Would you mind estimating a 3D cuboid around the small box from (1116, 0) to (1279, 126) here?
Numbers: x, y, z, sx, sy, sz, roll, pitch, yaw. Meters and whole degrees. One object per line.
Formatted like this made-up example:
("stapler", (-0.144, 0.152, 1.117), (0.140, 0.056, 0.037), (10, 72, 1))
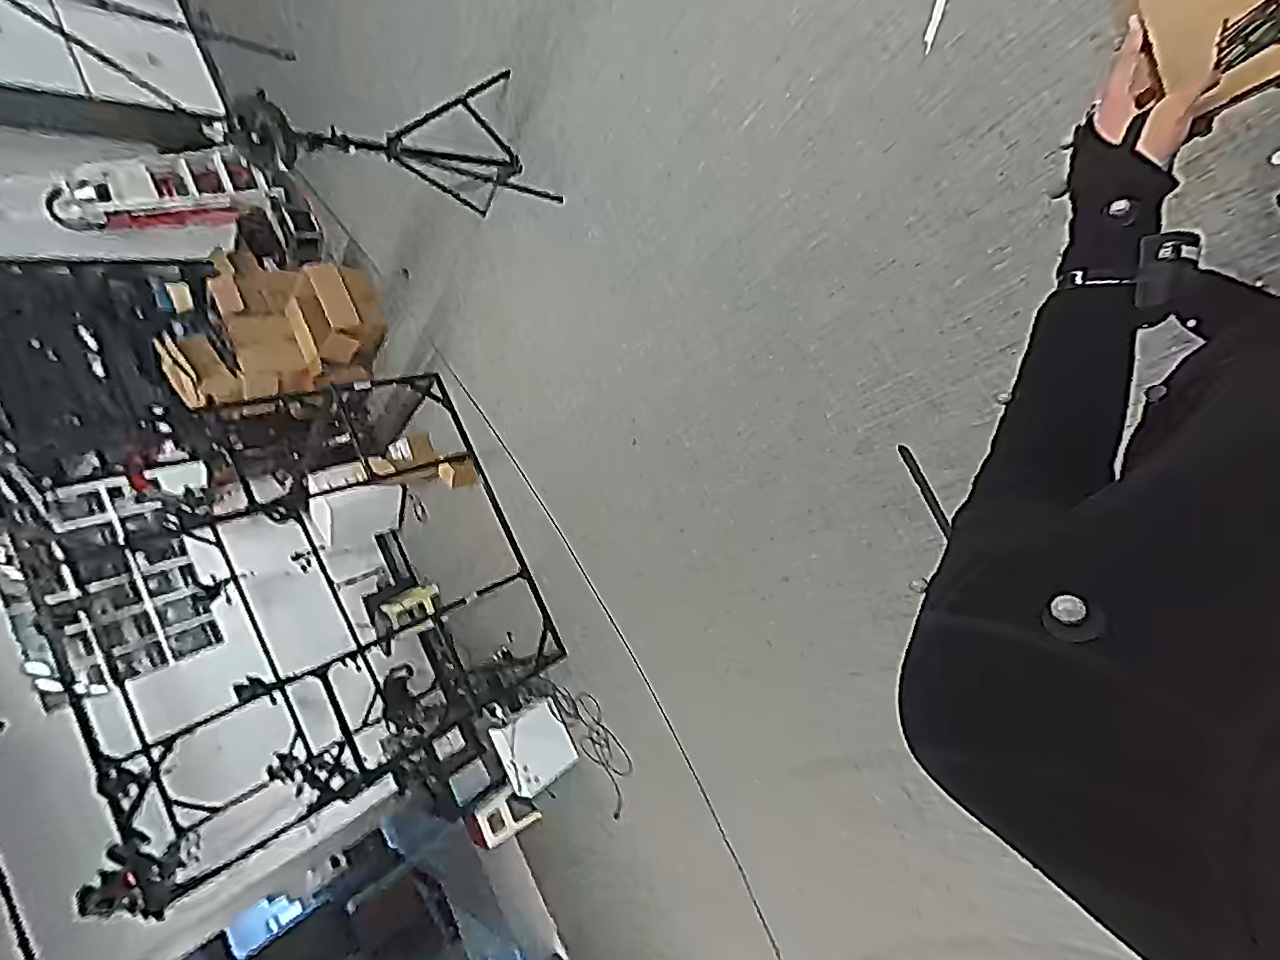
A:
("small box", (0.501, -0.415, 0.429), (0.168, 0.176, 0.179), (-17, 101, 43))
